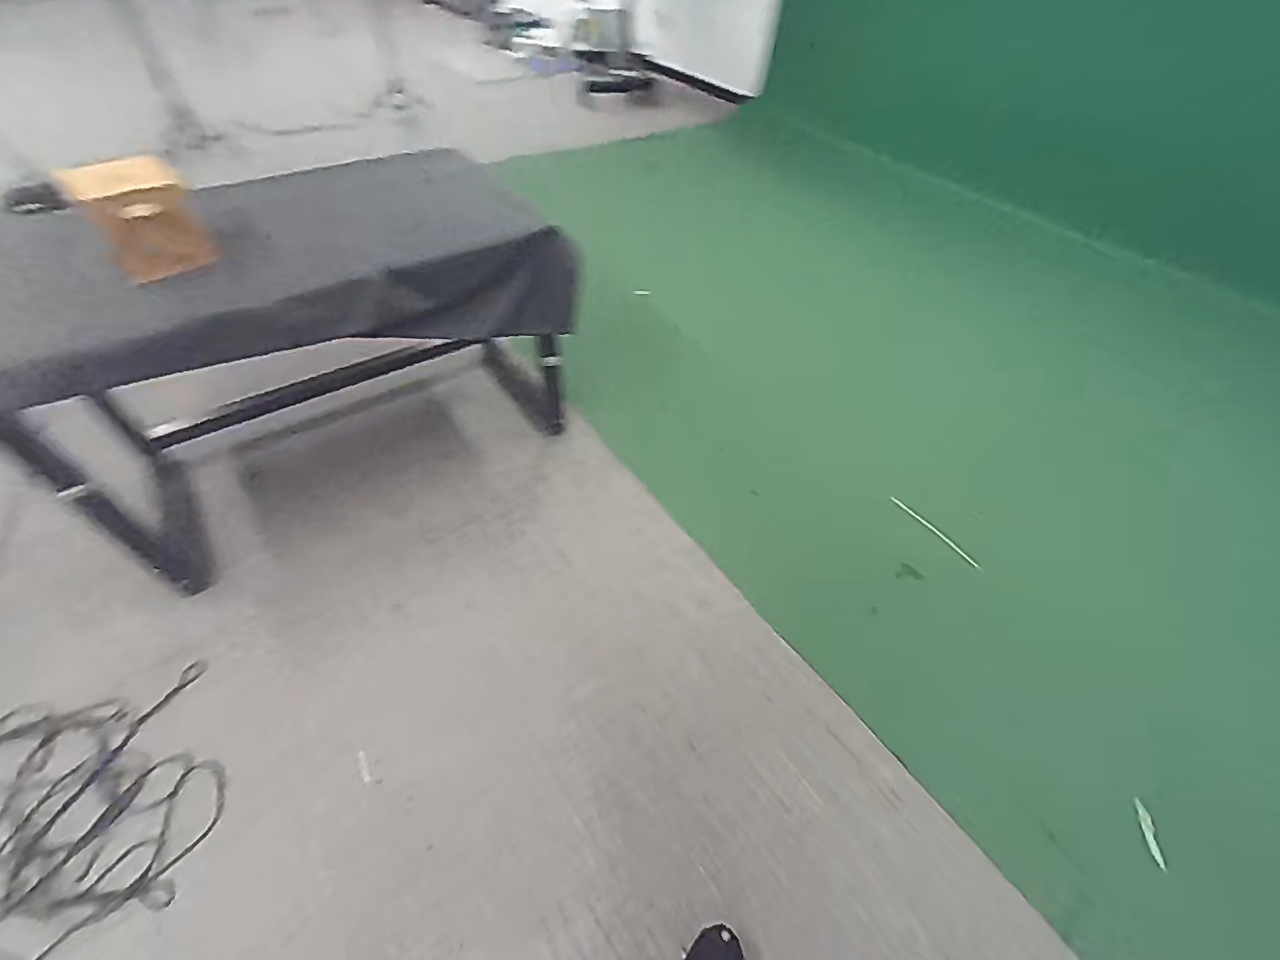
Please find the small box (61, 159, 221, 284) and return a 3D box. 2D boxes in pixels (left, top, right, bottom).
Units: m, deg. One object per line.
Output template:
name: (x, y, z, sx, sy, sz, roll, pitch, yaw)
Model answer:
small box: (-1.021, -0.534, 1.118, 0.168, 0.176, 0.179, -35, 60, -29)
